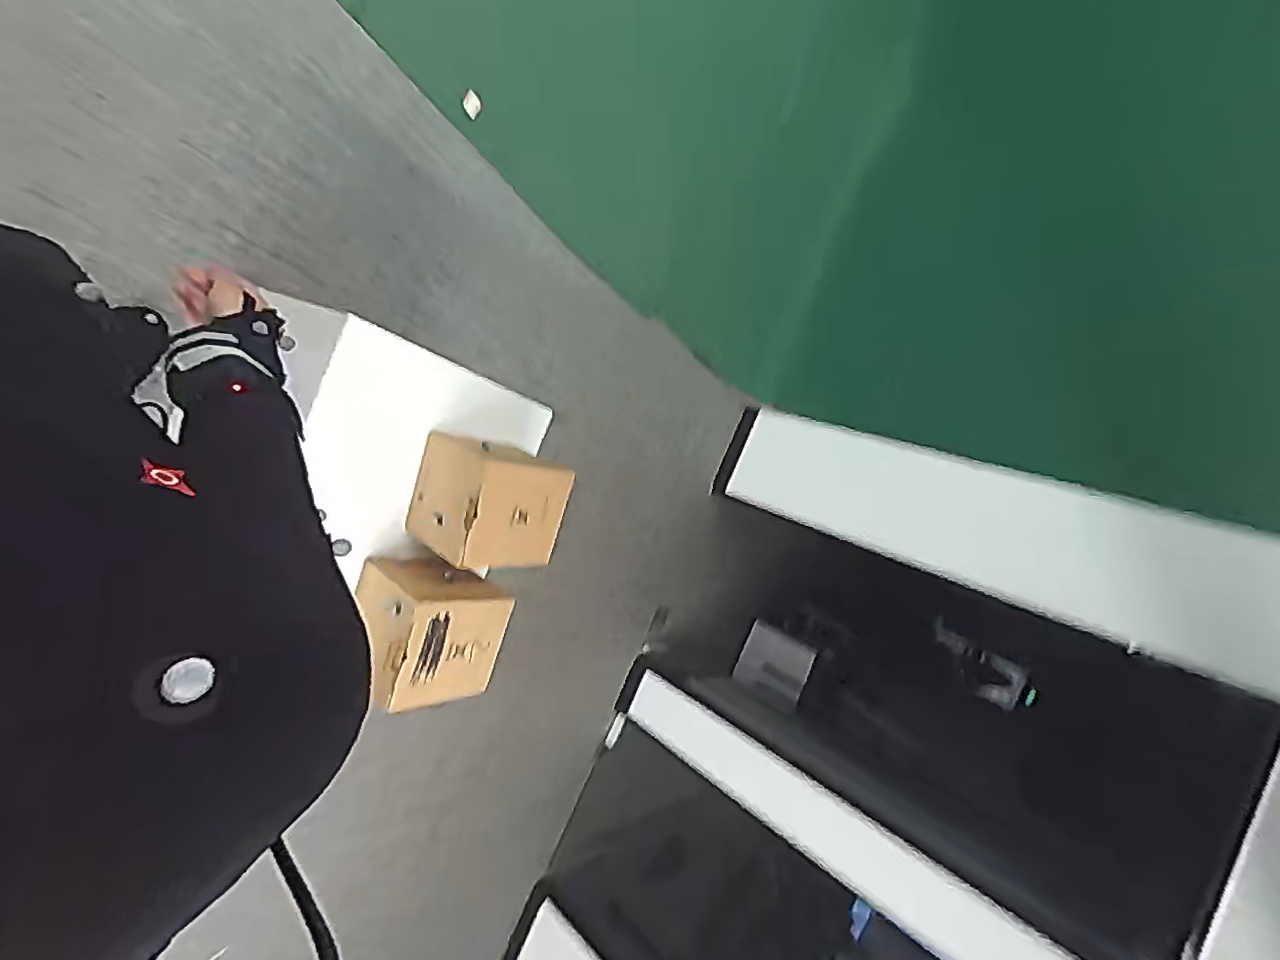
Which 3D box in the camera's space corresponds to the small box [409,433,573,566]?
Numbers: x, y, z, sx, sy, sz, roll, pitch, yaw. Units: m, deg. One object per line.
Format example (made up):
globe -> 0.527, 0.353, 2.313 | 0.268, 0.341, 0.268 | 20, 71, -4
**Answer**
small box -> -0.246, 0.029, 0.883 | 0.179, 0.176, 0.168 | 7, 104, -54
